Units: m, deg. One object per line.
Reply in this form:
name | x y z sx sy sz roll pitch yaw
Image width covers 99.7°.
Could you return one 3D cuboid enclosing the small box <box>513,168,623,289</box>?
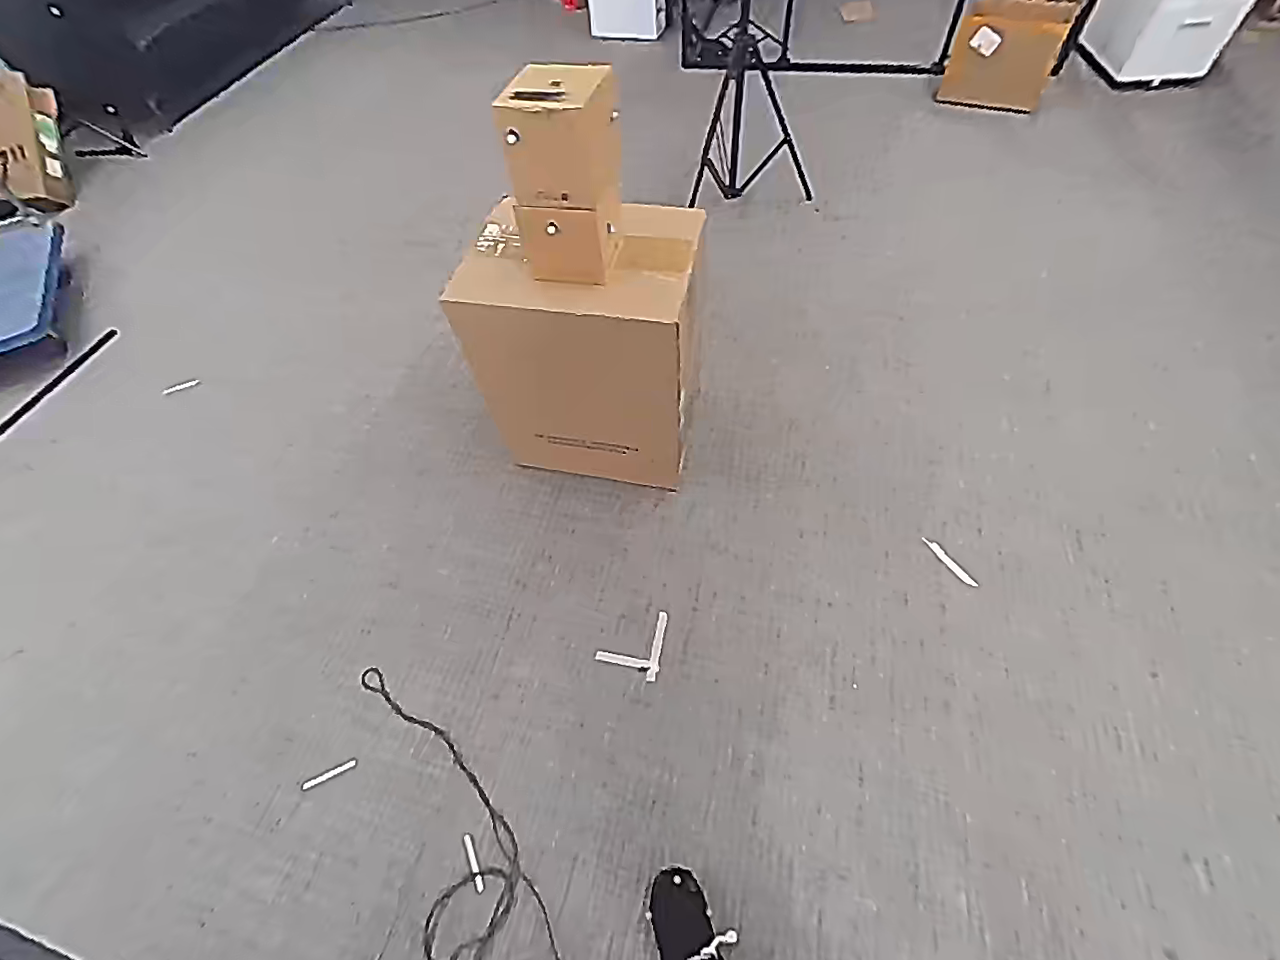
small box | -0.139 -0.524 1.136 0.179 0.176 0.168 9 57 11
